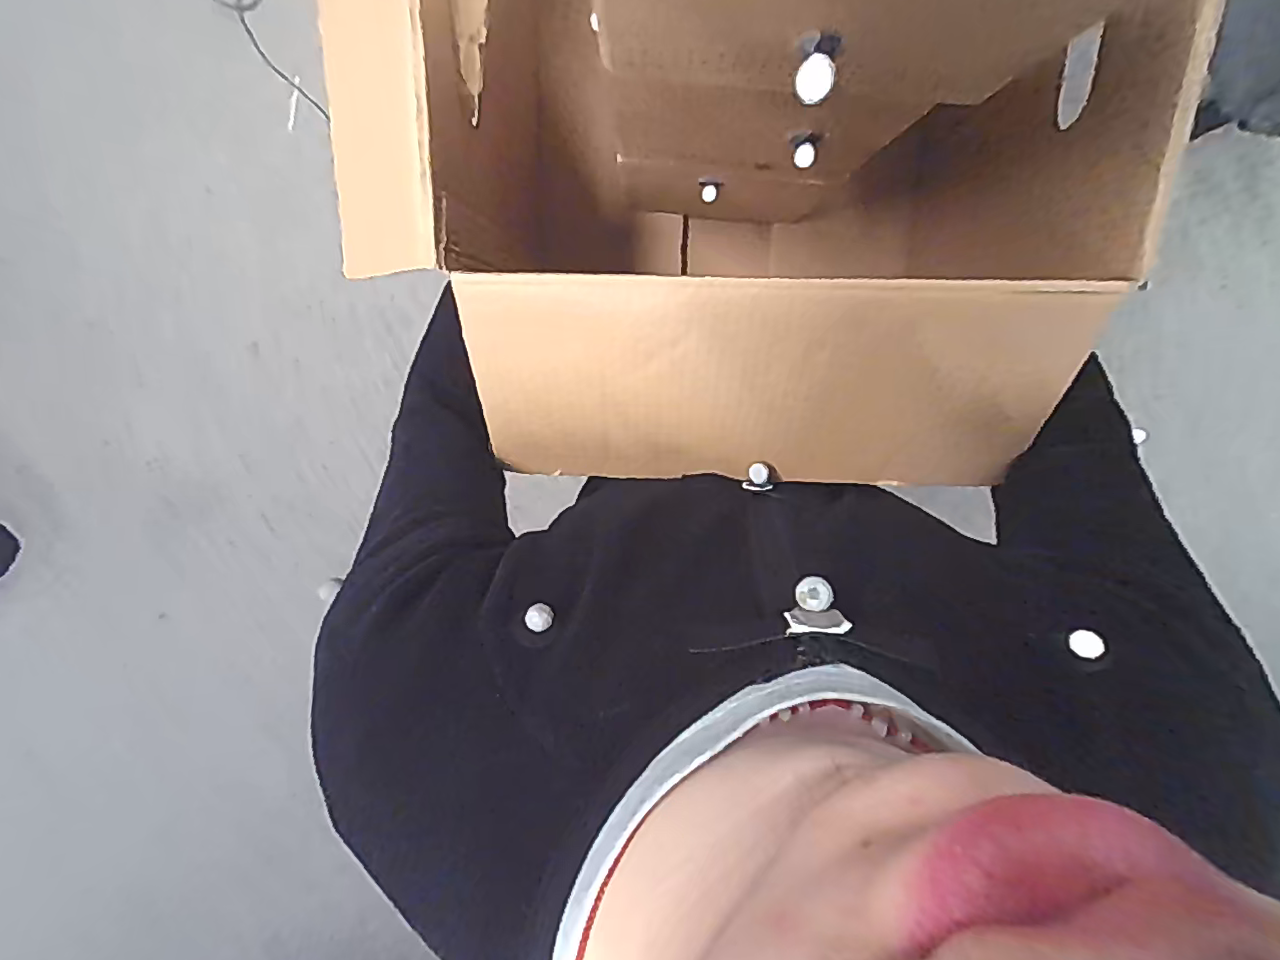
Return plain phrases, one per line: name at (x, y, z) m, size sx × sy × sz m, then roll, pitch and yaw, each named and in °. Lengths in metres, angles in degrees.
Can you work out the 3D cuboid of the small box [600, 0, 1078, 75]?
small box at (0.077, -0.238, 0.140) m, size 0.179 × 0.176 × 0.168 m, roll 4°, pitch 106°, yaw -2°
